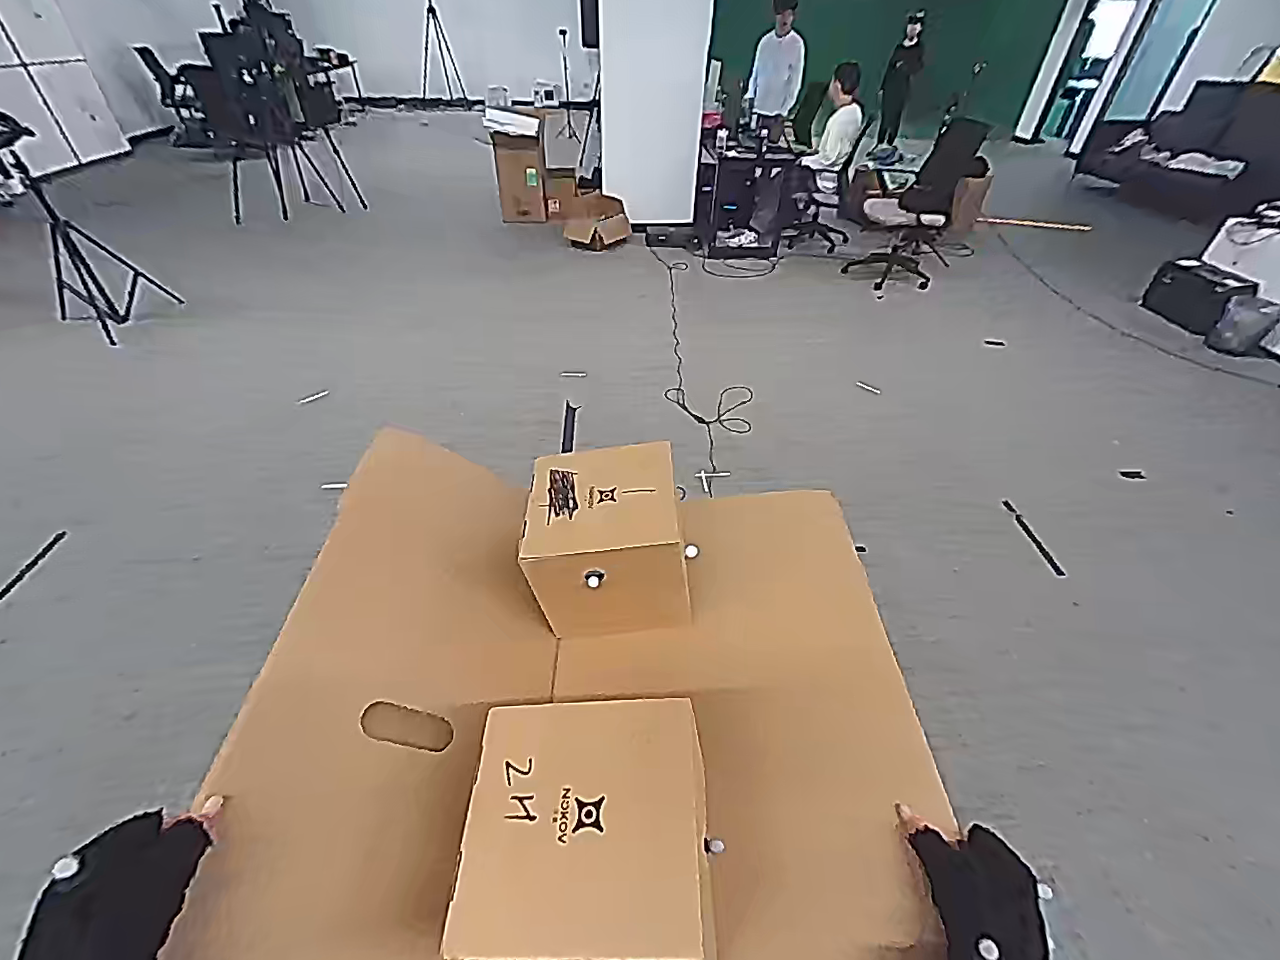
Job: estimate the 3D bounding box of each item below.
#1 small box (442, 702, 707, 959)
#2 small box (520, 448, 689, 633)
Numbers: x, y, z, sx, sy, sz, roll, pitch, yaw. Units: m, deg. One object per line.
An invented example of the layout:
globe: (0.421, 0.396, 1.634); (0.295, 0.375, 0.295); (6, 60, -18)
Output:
small box: (-0.034, 0.307, 0.466); (0.179, 0.176, 0.168); (-5, 44, 8)
small box: (-0.036, 0.082, 0.694); (0.179, 0.176, 0.168); (-6, 44, 5)
